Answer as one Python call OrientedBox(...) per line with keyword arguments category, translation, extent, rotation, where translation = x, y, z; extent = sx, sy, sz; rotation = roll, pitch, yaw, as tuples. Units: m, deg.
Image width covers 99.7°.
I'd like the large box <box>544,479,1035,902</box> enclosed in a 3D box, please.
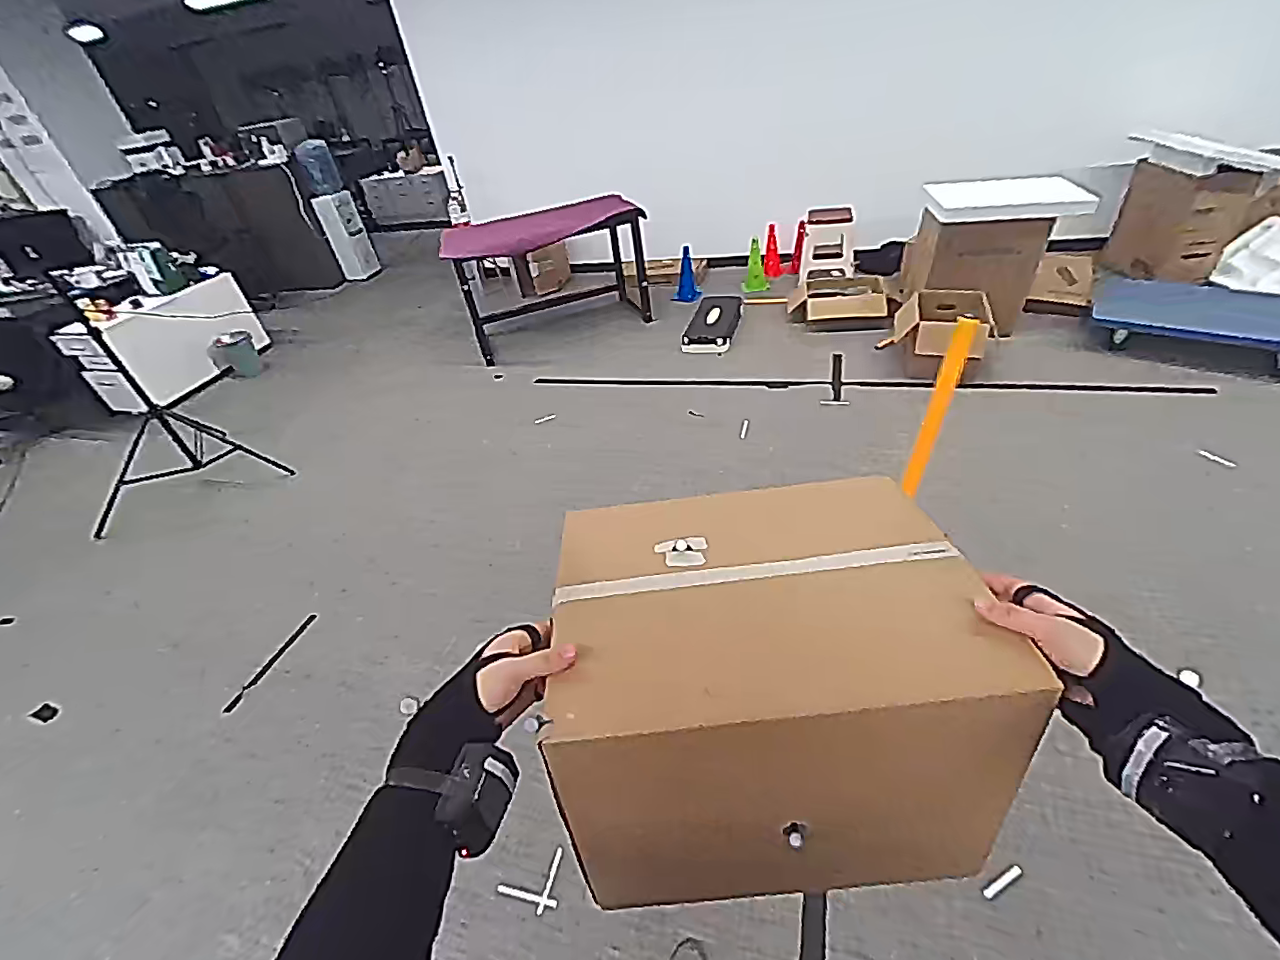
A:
OrientedBox(category="large box", translation=(0.132, 0.232, 0.633), extent=(0.408, 0.320, 0.320), rotation=(-8, 31, 2))
